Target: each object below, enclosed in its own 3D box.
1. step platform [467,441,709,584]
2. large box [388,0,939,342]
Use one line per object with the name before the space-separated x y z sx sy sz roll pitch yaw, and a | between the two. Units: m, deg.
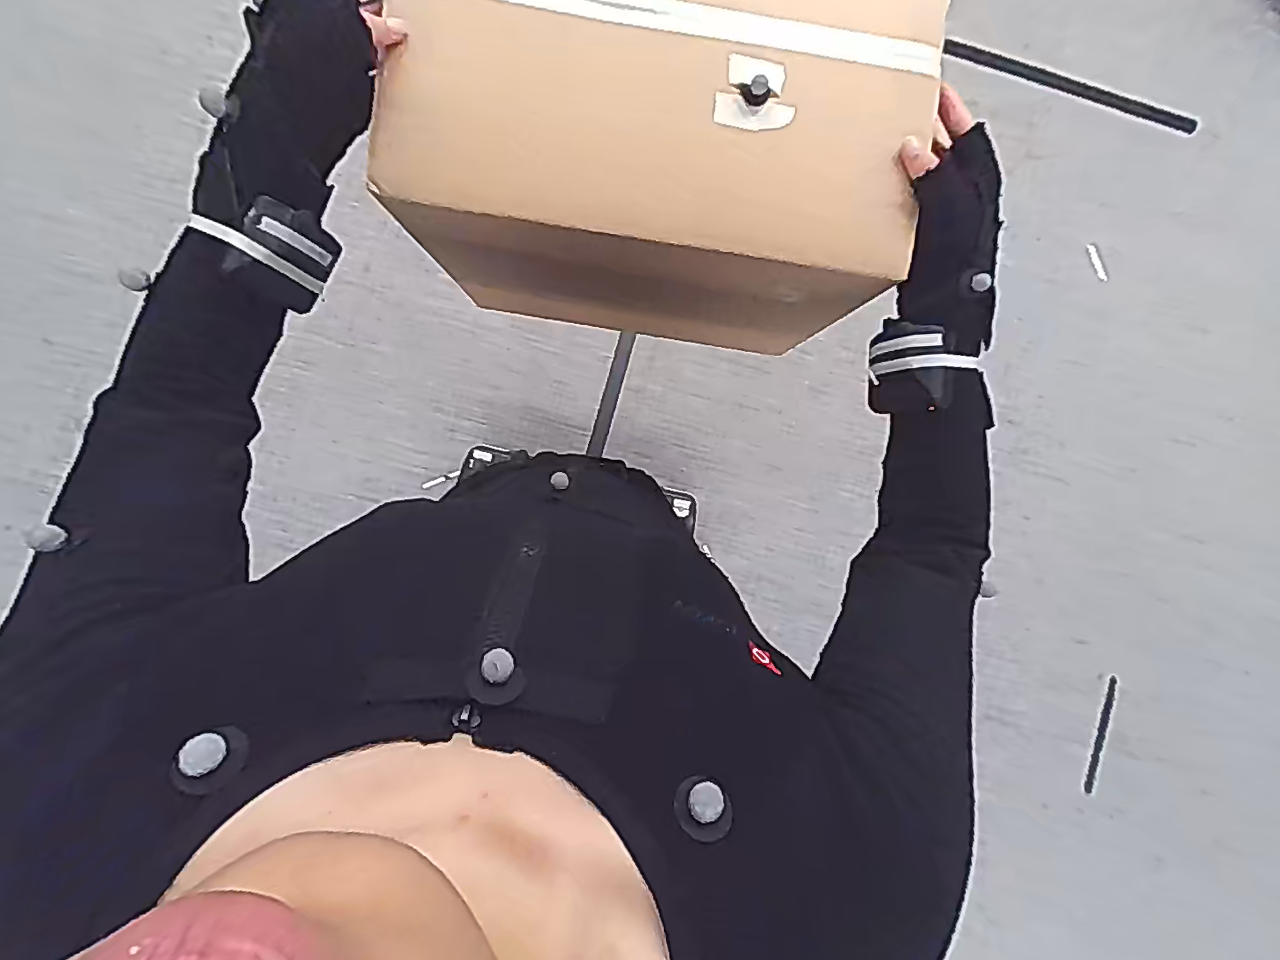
step platform | -0.146 0.094 1.579 0.684 0.204 0.286 13 90 -4
large box | 0.016 -0.349 0.554 0.408 0.320 0.320 8 93 -3
